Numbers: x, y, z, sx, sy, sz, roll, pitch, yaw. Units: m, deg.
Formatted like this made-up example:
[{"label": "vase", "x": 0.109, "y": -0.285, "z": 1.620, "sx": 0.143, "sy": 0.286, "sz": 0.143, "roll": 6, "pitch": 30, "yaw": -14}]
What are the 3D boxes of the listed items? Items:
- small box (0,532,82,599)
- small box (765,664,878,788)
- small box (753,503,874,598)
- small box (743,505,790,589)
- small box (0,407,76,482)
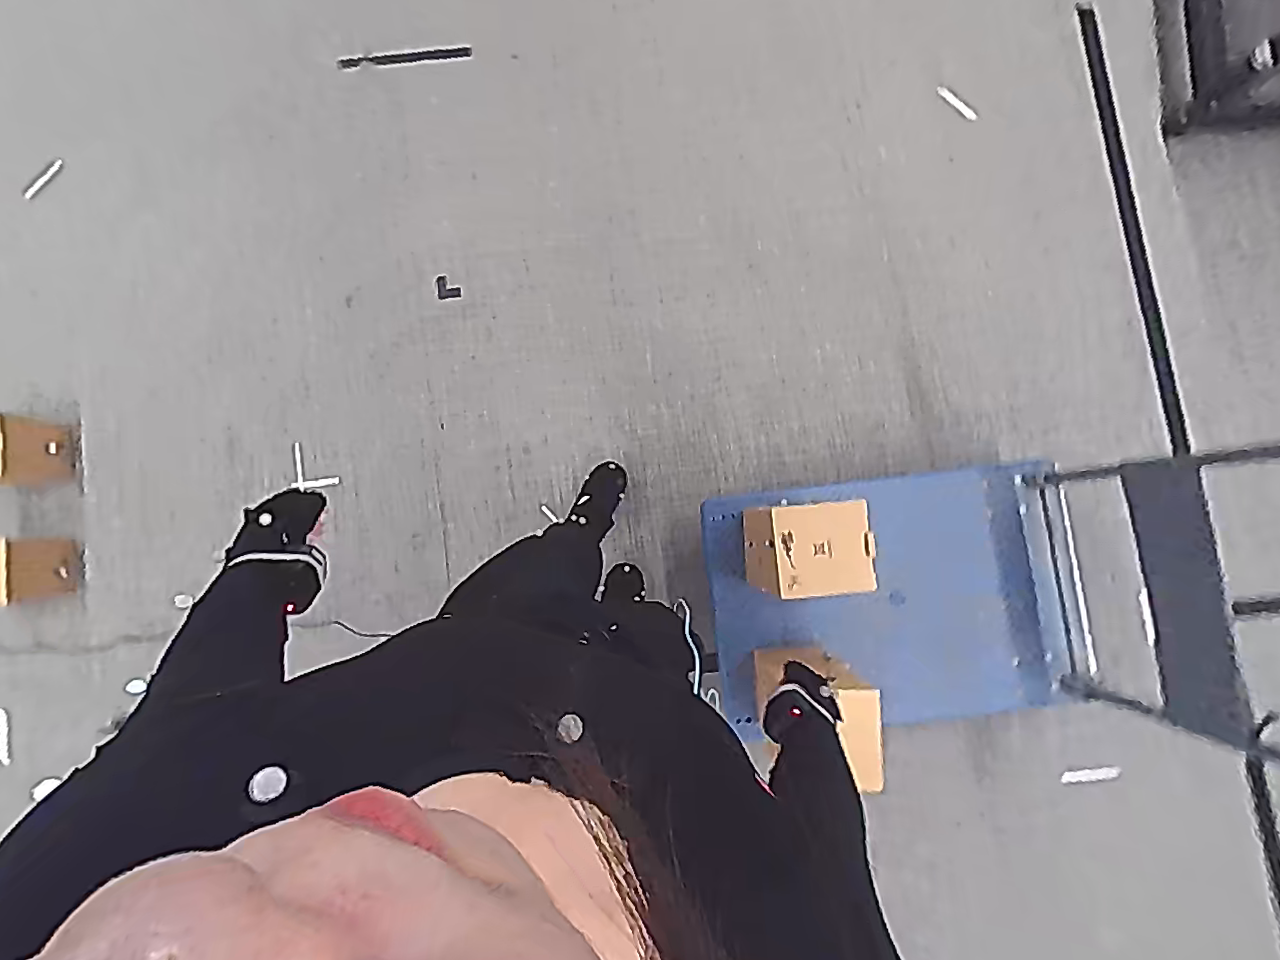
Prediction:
[{"label": "small box", "x": -1.665, "y": 0.227, "z": 1.445, "sx": 0.179, "sy": 0.176, "sz": 0.168, "roll": -4, "pitch": 86, "yaw": 0}, {"label": "small box", "x": 0.339, "y": 0.461, "z": 1.037, "sx": 0.168, "sy": 0.176, "sz": 0.179, "roll": 0, "pitch": 87, "yaw": 1}, {"label": "small box", "x": 0.330, "y": 0.131, "z": 1.057, "sx": 0.179, "sy": 0.176, "sz": 0.168, "roll": -5, "pitch": 86, "yaw": 0}, {"label": "small box", "x": 0.331, "y": 0.147, "z": 1.221, "sx": 0.168, "sy": 0.176, "sz": 0.179, "roll": -2, "pitch": 85, "yaw": 0}, {"label": "small box", "x": -1.703, "y": -0.091, "z": 1.468, "sx": 0.179, "sy": 0.176, "sz": 0.168, "roll": -8, "pitch": 86, "yaw": 0}]
